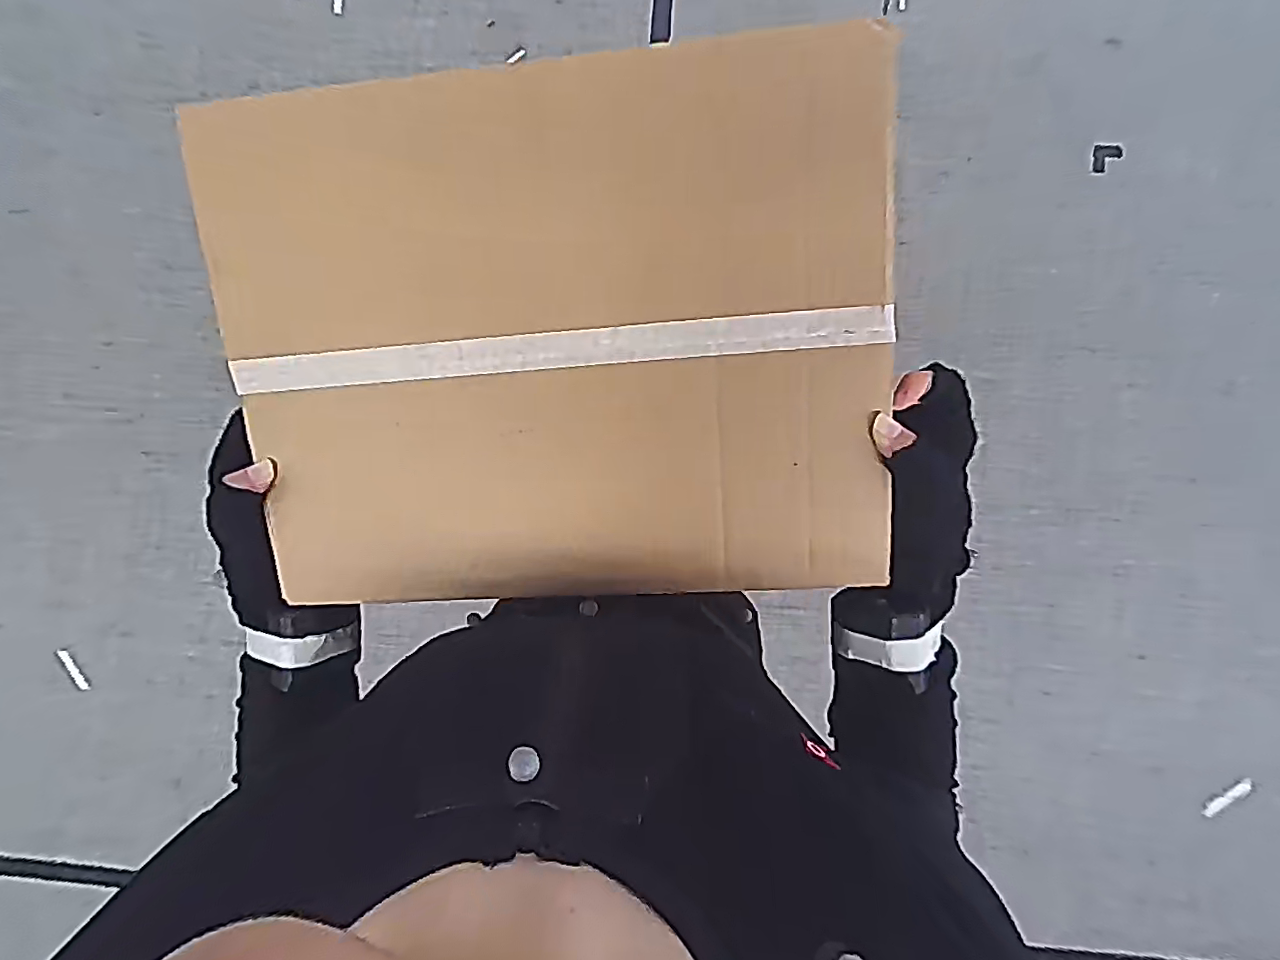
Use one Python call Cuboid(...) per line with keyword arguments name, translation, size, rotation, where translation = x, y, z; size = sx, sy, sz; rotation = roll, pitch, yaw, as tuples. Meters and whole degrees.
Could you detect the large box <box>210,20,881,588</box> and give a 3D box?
Cuboid(name="large box", translation=(-0.045, -0.114, 0.482), size=(0.408, 0.320, 0.320), rotation=(-3, 102, 5))
